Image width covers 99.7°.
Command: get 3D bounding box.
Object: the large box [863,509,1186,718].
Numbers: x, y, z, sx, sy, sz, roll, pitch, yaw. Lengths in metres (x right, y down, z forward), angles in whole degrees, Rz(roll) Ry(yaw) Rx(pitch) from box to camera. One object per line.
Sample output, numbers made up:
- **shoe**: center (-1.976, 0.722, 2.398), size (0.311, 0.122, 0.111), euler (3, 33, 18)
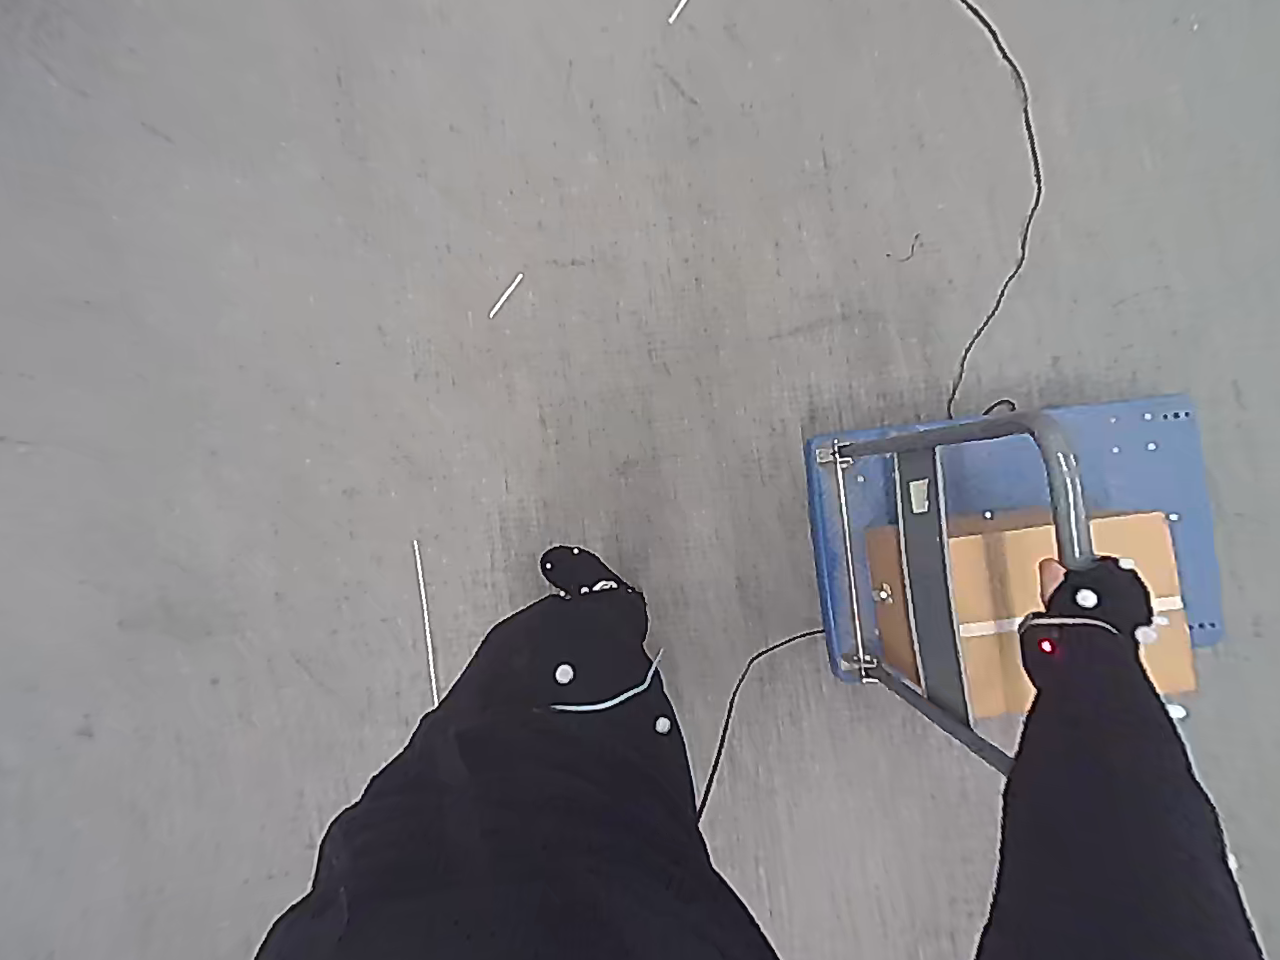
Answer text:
- **large box**: center (0.722, 0.236, 1.080), size (0.408, 0.320, 0.320), euler (-7, 89, 0)
